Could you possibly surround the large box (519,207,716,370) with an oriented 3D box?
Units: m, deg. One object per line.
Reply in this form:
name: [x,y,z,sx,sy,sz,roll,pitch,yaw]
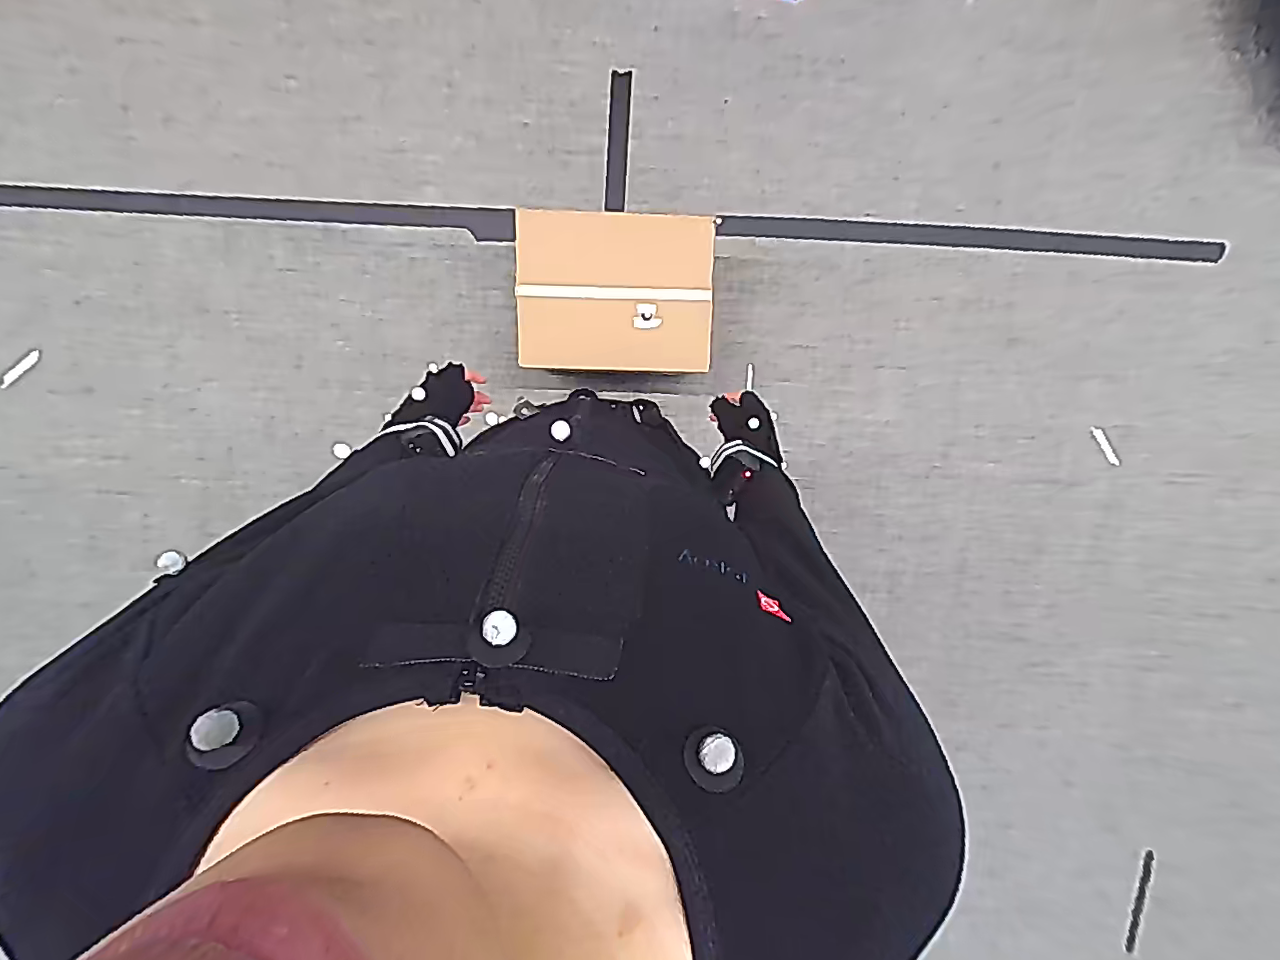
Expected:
large box: [-0.053,-0.419,1.259,0.408,0.320,0.320,1,101,-3]
